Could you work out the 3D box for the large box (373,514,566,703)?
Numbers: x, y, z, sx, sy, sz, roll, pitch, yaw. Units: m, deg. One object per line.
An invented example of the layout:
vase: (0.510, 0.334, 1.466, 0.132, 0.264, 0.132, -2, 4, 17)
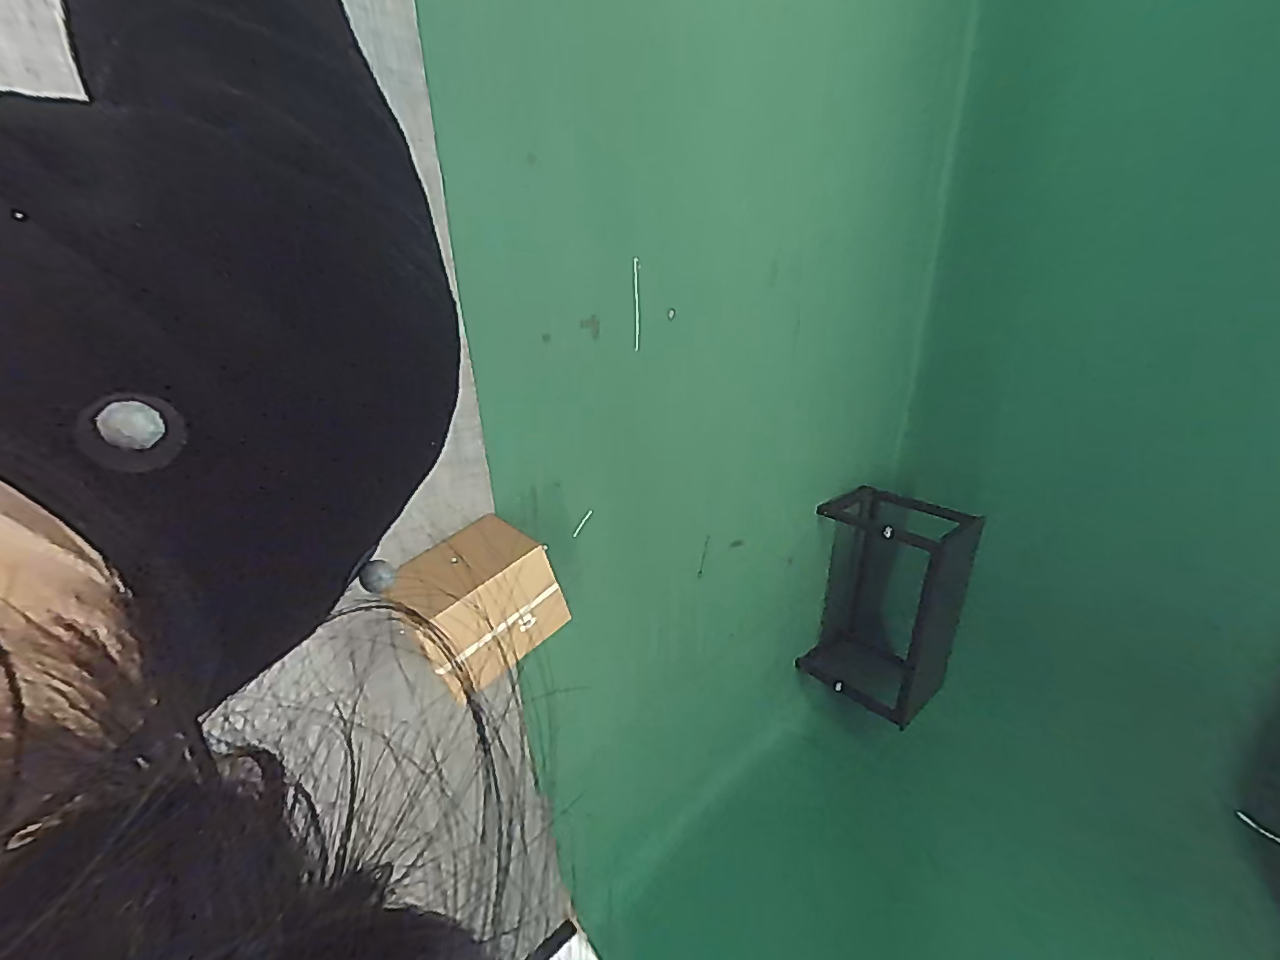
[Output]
large box: (-0.506, 0.366, 1.634, 0.408, 0.320, 0.320, -35, 128, -31)
